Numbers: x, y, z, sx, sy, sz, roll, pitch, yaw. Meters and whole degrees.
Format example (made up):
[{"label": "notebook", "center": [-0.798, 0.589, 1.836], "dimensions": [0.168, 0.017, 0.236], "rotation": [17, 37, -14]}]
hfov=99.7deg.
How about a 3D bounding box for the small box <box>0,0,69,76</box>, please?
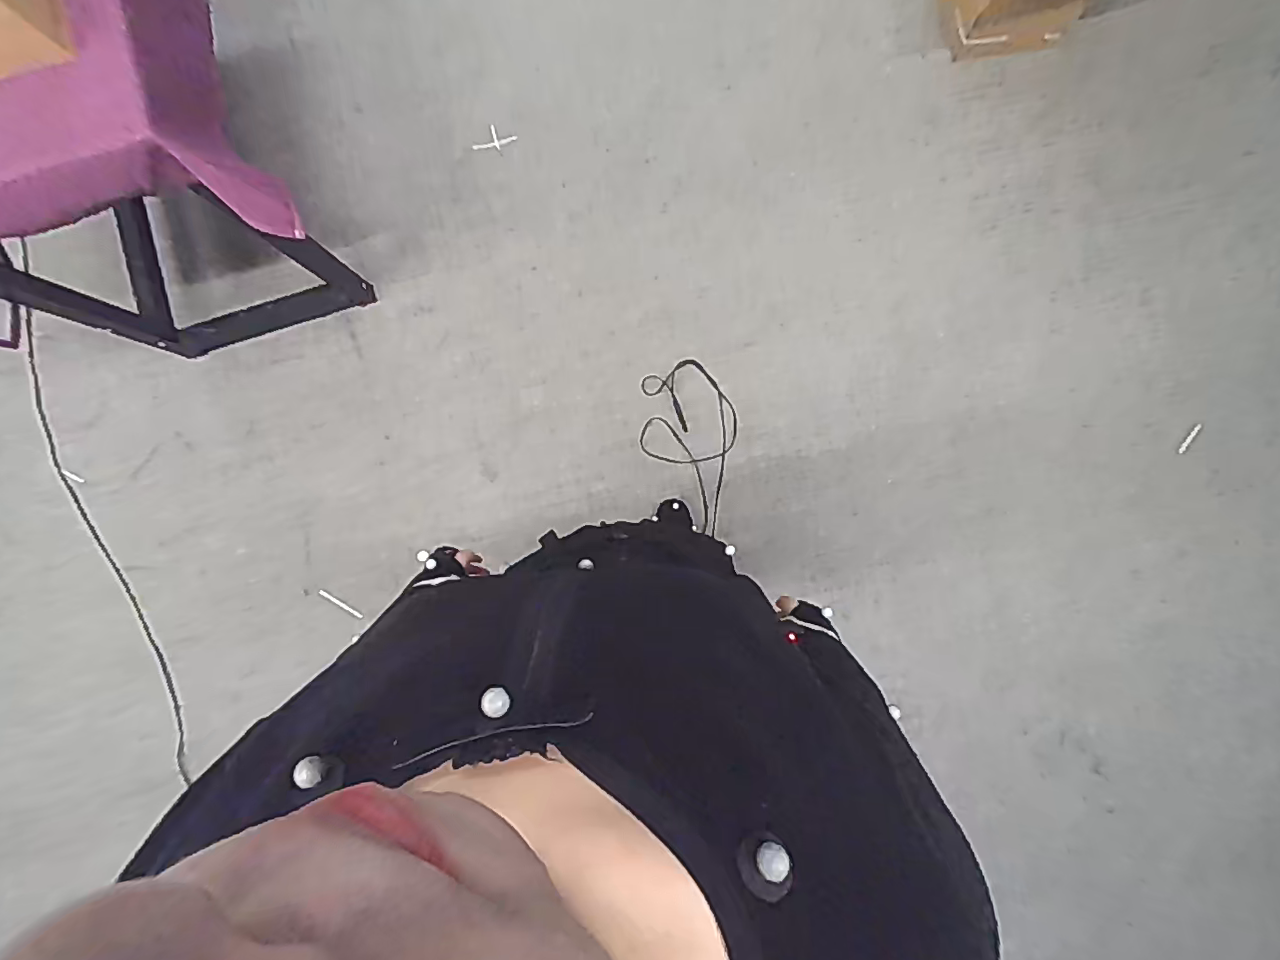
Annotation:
[{"label": "small box", "center": [-0.977, -0.721, 0.768], "dimensions": [0.179, 0.176, 0.168], "rotation": [-13, 86, 1]}]
